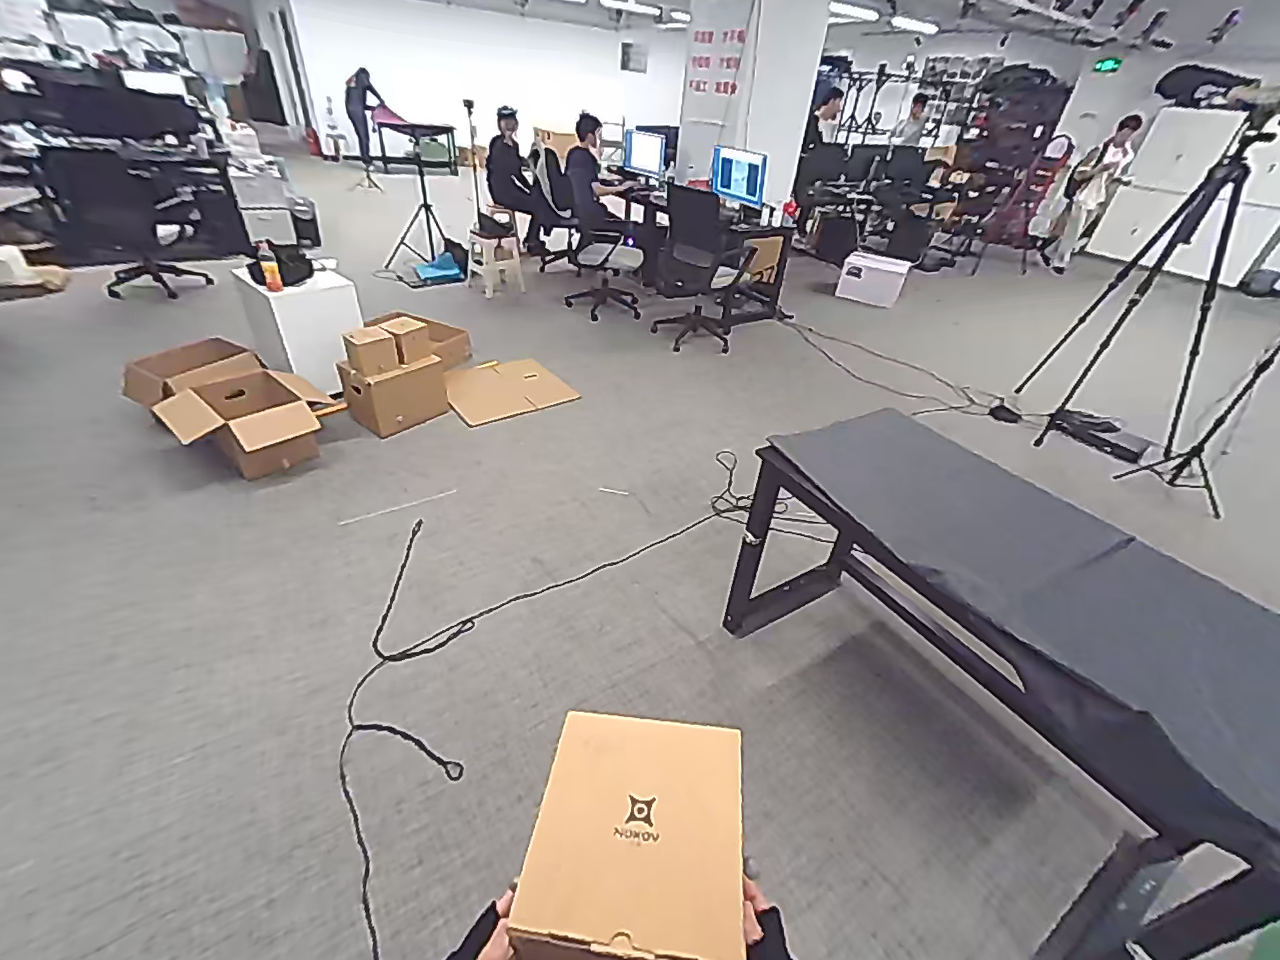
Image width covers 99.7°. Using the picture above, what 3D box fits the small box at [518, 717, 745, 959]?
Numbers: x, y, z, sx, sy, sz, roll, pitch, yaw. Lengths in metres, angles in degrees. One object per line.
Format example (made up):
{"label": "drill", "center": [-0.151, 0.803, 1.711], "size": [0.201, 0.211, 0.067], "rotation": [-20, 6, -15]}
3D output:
{"label": "small box", "center": [0.004, 0.350, 0.489], "size": [0.168, 0.176, 0.179], "rotation": [3, 33, 7]}
